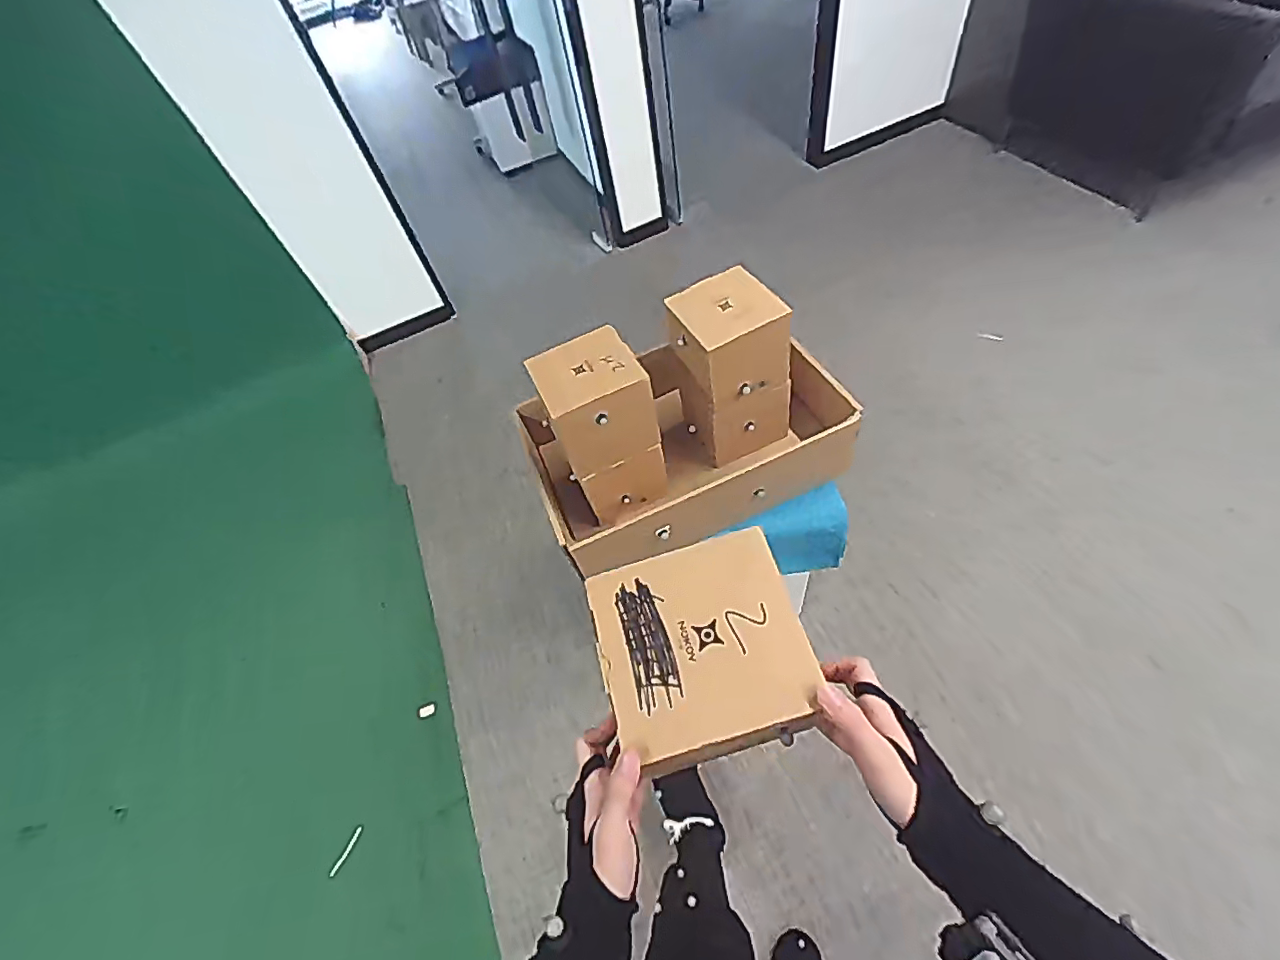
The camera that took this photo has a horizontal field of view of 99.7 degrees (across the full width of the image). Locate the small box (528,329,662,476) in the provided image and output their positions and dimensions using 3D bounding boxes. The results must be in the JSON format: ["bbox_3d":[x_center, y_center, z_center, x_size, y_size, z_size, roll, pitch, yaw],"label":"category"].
[{"bbox_3d":[-0.077,-0.135,0.979,0.179,0.176,0.168,-25,53,-8],"label":"small box"}]

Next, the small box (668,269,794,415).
[{"bbox_3d":[0.169,-0.256,1.016,0.168,0.176,0.179,-26,53,-5],"label":"small box"}]
